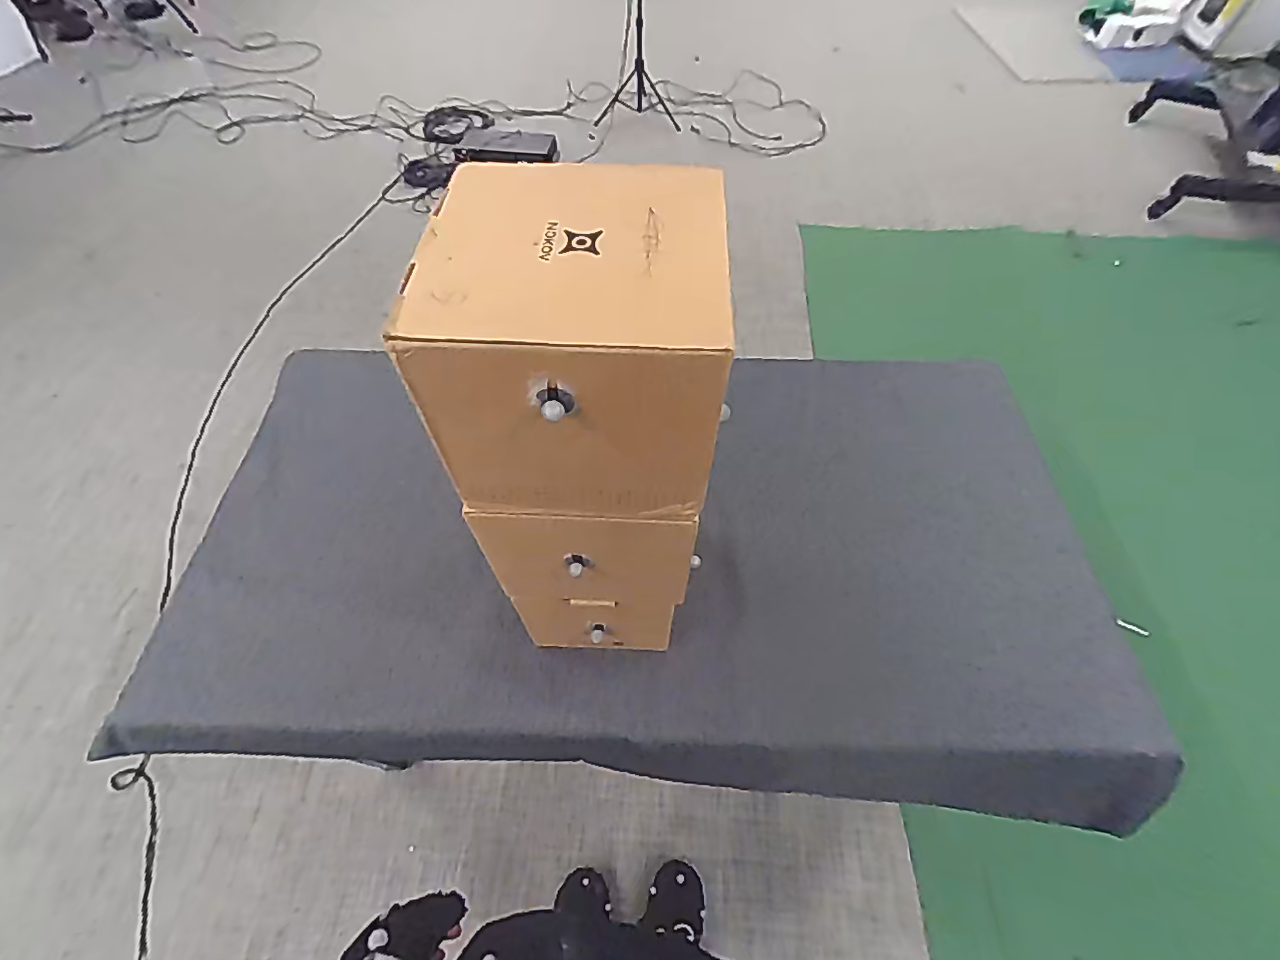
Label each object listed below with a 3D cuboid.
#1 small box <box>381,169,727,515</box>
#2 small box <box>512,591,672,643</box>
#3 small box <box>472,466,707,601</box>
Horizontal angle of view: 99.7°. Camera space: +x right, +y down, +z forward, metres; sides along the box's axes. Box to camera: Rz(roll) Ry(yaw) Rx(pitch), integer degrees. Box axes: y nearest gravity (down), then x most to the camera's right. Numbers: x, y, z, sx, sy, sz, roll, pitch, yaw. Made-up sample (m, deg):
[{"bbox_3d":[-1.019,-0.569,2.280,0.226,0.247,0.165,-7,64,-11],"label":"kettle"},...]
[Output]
[{"bbox_3d":[-0.039,-0.087,0.375,0.179,0.176,0.168,3,58,1],"label":"small box"},{"bbox_3d":[-0.044,0.089,0.650,0.168,0.176,0.179,1,58,1],"label":"small box"},{"bbox_3d":[-0.039,0.007,0.507,0.179,0.176,0.168,0,57,-1],"label":"small box"}]
